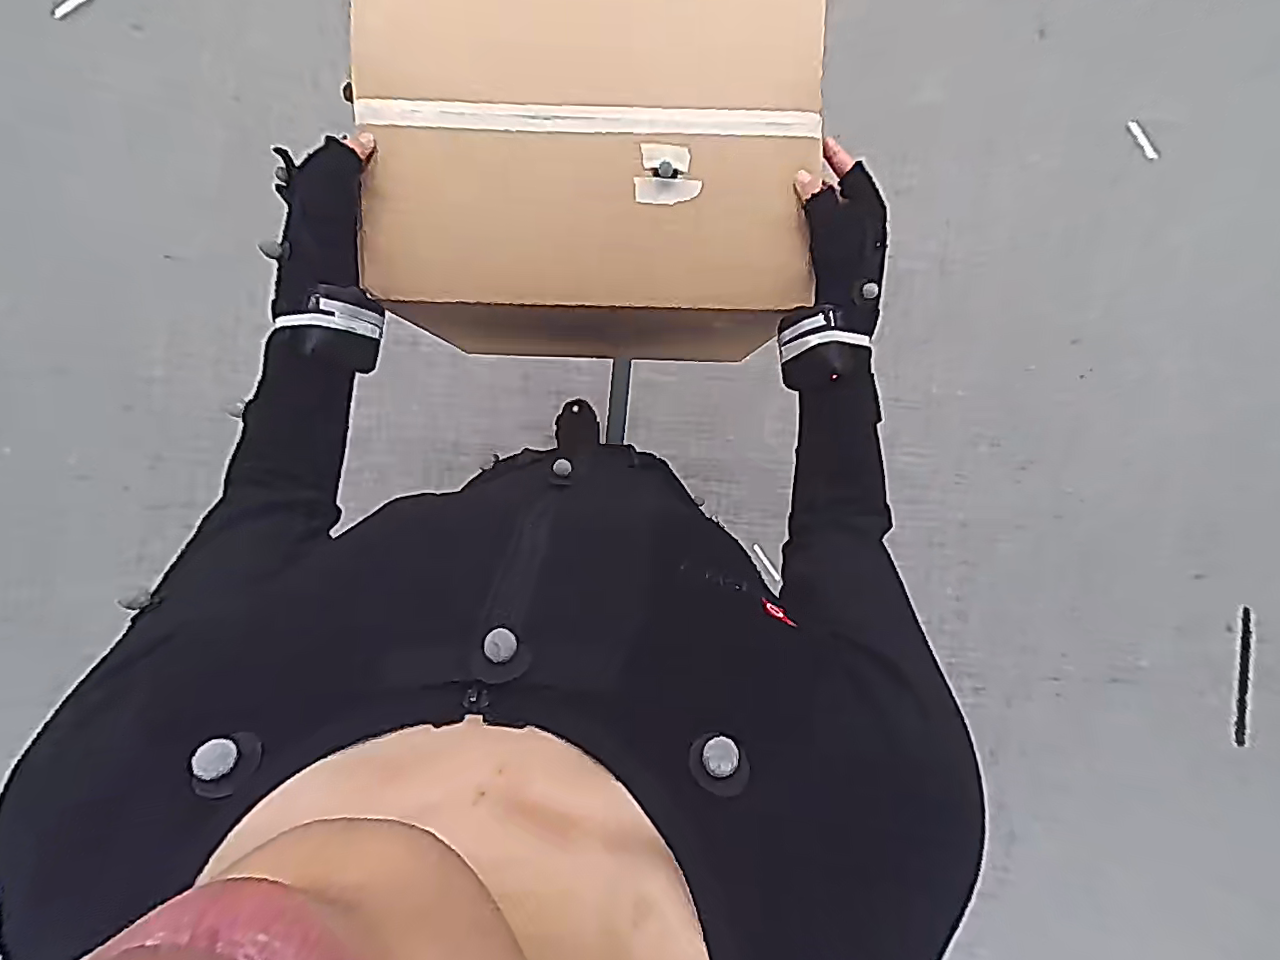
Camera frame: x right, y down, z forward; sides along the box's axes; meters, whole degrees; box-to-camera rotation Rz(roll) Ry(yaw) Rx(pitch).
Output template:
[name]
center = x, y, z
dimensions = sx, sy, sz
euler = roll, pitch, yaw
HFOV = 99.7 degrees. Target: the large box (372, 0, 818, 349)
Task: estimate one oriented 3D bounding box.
[large box]
center = -0.045, -0.336, 0.635
dimensions = 0.408, 0.320, 0.320
euler = 1, 95, -2
